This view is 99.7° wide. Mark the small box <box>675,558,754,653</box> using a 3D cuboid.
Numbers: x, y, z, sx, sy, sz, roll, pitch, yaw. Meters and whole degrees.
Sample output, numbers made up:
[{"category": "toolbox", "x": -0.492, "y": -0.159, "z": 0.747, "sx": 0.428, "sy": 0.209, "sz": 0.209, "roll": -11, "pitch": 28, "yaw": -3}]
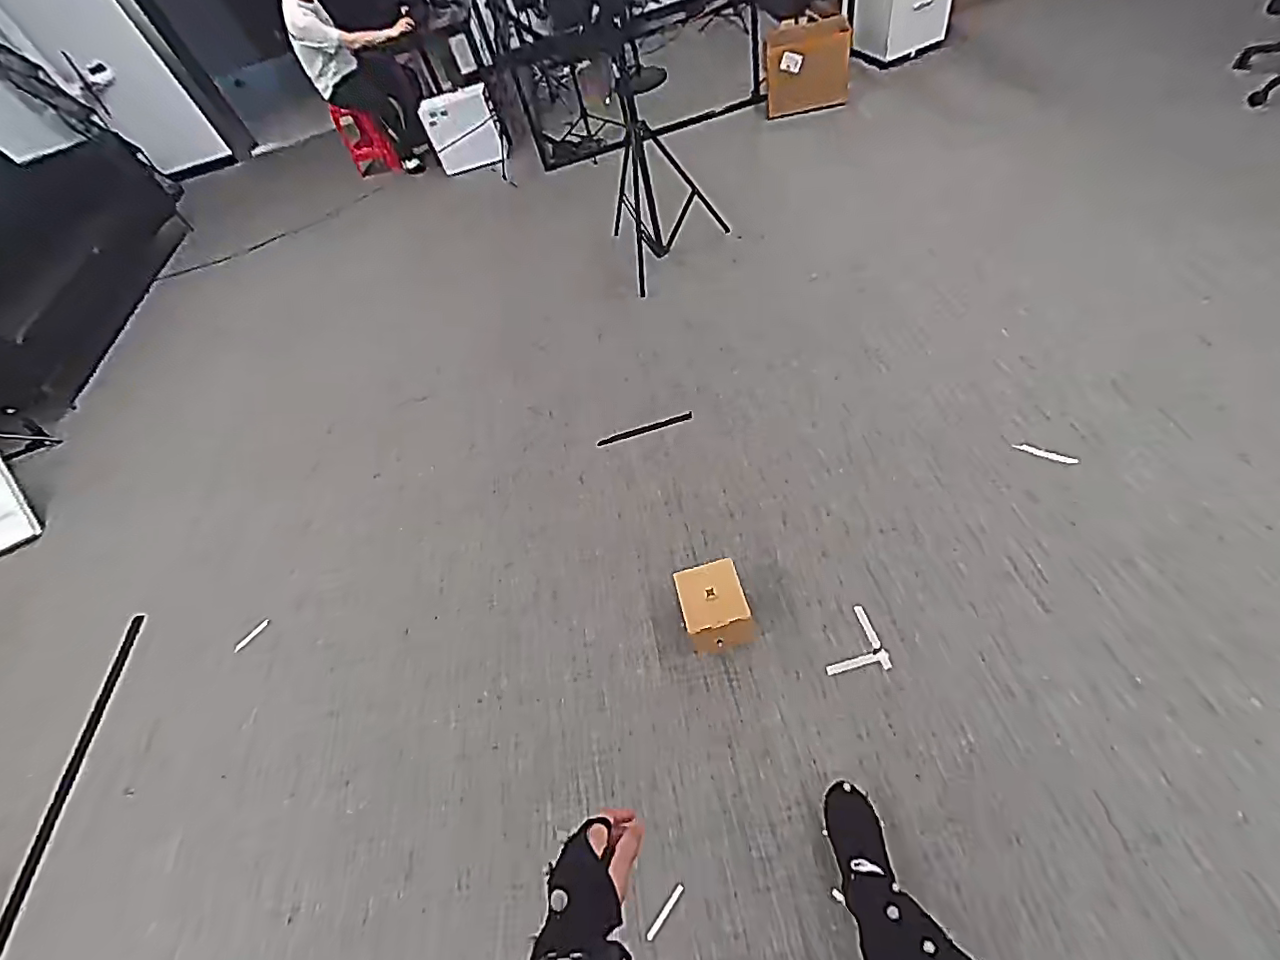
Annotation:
[{"category": "small box", "x": 0.202, "y": 0.342, "z": 1.463, "sx": 0.168, "sy": 0.176, "sz": 0.179, "roll": -17, "pitch": 52, "yaw": 2}]
